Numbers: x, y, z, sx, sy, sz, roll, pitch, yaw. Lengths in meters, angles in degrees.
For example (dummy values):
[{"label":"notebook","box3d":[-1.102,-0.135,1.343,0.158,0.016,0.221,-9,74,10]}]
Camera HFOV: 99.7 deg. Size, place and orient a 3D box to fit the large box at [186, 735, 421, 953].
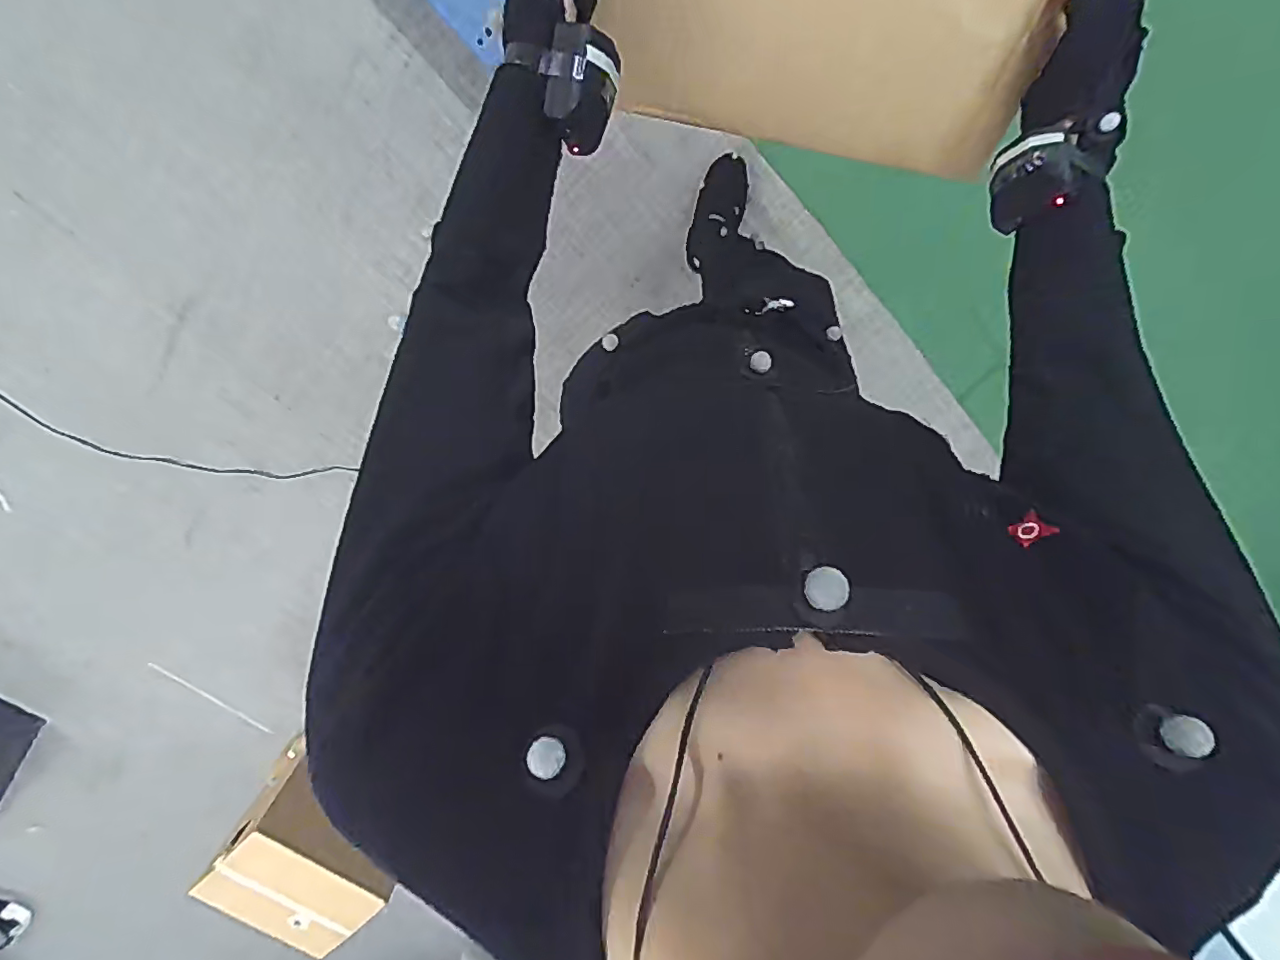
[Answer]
[{"label":"large box","box3d":[-0.921,1.020,1.537,0.320,0.320,0.408,-43,107,13]}]
